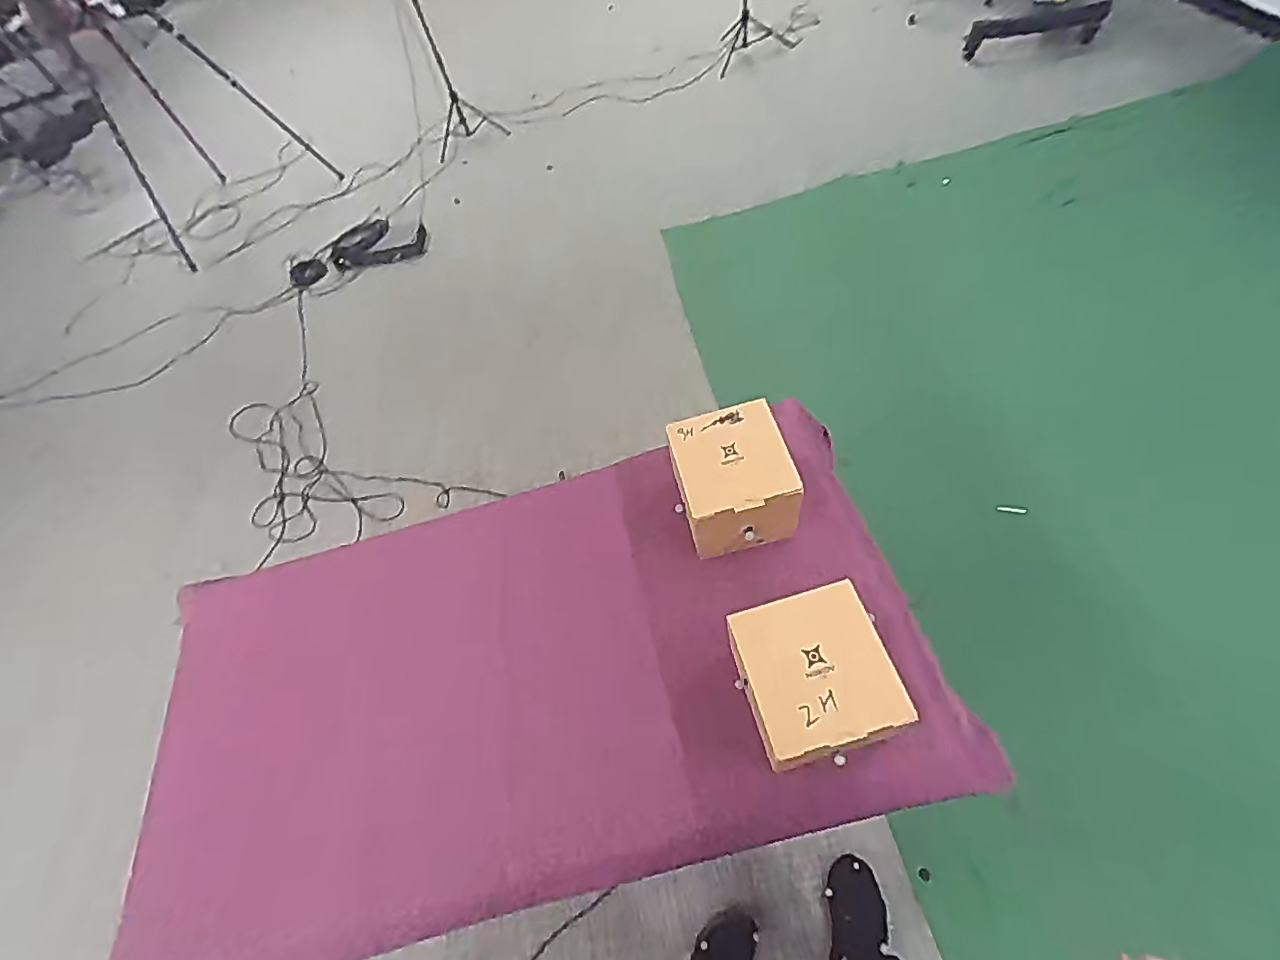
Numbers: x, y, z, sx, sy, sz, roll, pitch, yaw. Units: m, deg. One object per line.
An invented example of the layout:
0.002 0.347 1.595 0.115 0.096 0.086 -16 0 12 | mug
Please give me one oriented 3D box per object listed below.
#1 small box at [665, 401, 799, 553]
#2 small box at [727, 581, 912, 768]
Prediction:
0.147 0.006 0.884 0.168 0.176 0.179 -15 60 2 | small box
0.220 0.261 0.713 0.168 0.176 0.179 -17 57 2 | small box
